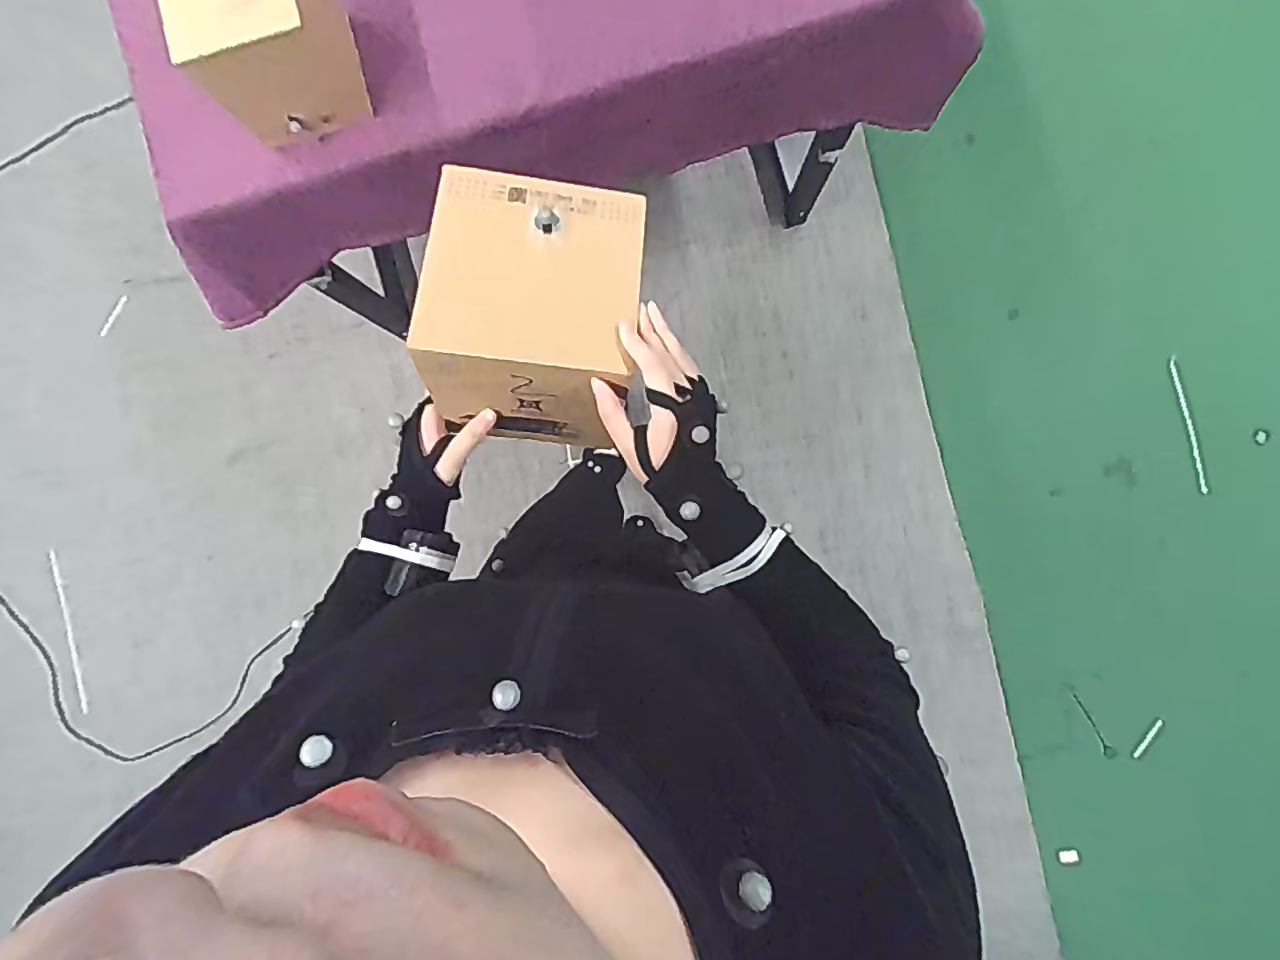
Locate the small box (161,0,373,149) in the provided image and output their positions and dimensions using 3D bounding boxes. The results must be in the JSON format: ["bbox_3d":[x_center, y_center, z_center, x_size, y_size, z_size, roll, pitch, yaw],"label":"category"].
[{"bbox_3d":[-0.496,-0.598,0.732,0.168,0.176,0.179,-14,89,3],"label":"small box"}]
